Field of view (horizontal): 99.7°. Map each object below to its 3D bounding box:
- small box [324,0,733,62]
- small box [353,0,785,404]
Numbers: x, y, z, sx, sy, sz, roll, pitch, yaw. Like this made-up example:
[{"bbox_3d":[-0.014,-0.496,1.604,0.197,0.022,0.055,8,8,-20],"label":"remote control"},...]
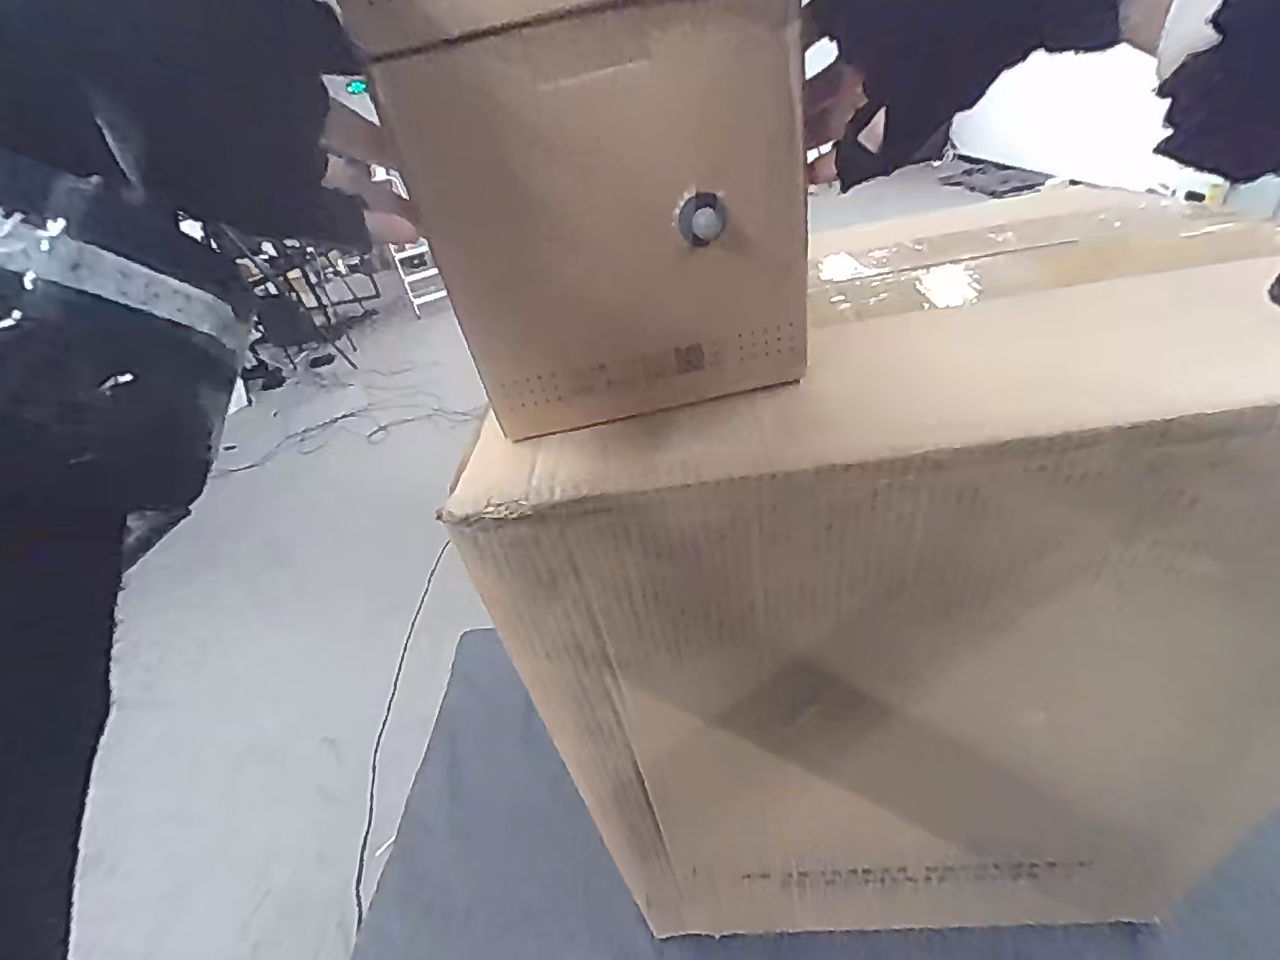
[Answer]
[{"bbox_3d":[-0.038,-0.269,0.211,0.179,0.176,0.168,-9,37,6],"label":"small box"},{"bbox_3d":[-0.023,-0.157,0.308,0.168,0.176,0.179,-14,38,-1],"label":"small box"}]
